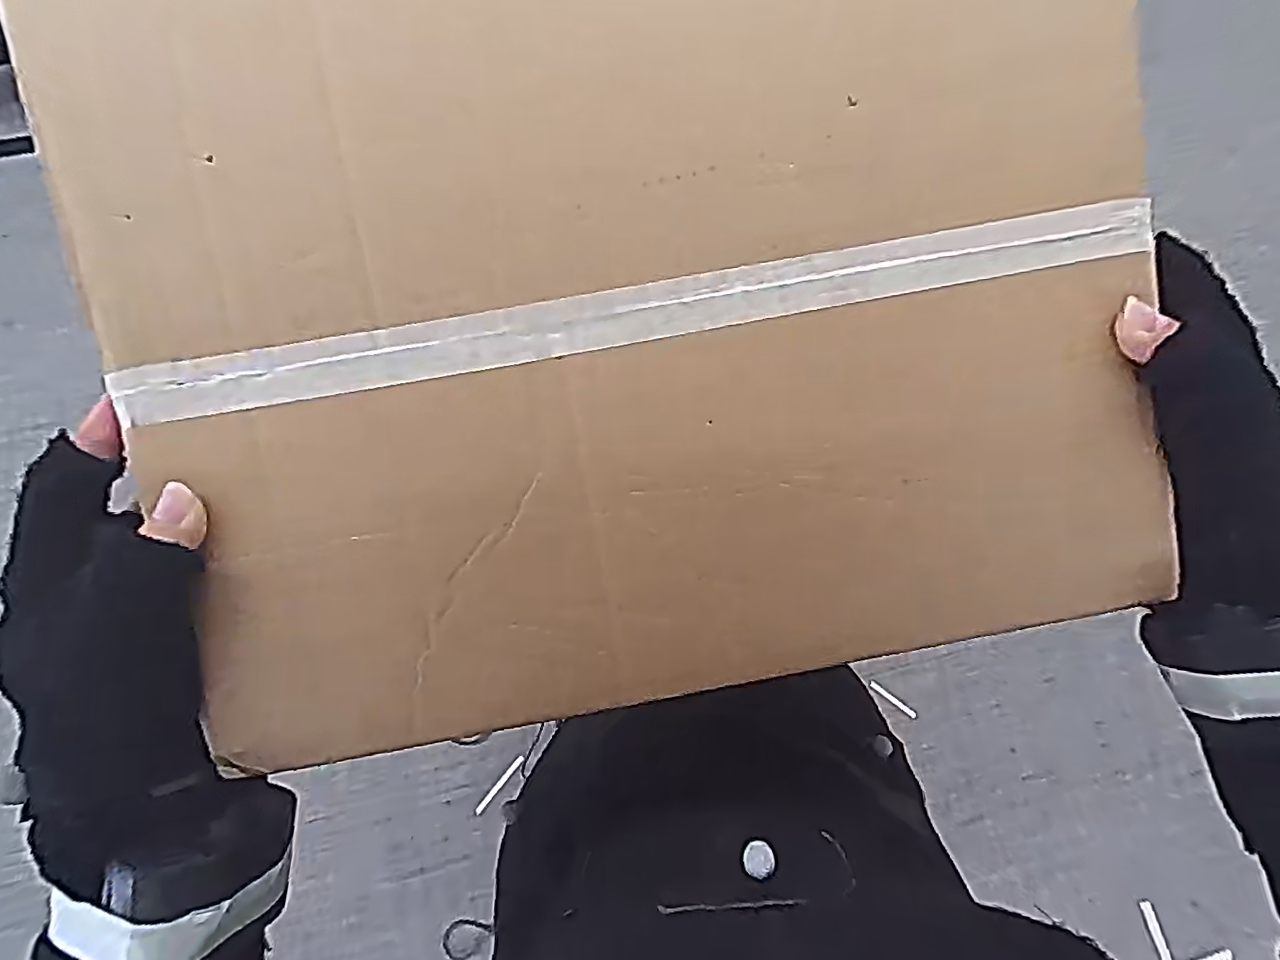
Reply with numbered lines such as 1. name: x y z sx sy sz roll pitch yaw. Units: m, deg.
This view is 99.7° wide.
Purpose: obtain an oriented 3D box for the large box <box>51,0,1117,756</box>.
1. large box: -0.006 -0.081 0.372 0.408 0.320 0.320 -10 96 -2
